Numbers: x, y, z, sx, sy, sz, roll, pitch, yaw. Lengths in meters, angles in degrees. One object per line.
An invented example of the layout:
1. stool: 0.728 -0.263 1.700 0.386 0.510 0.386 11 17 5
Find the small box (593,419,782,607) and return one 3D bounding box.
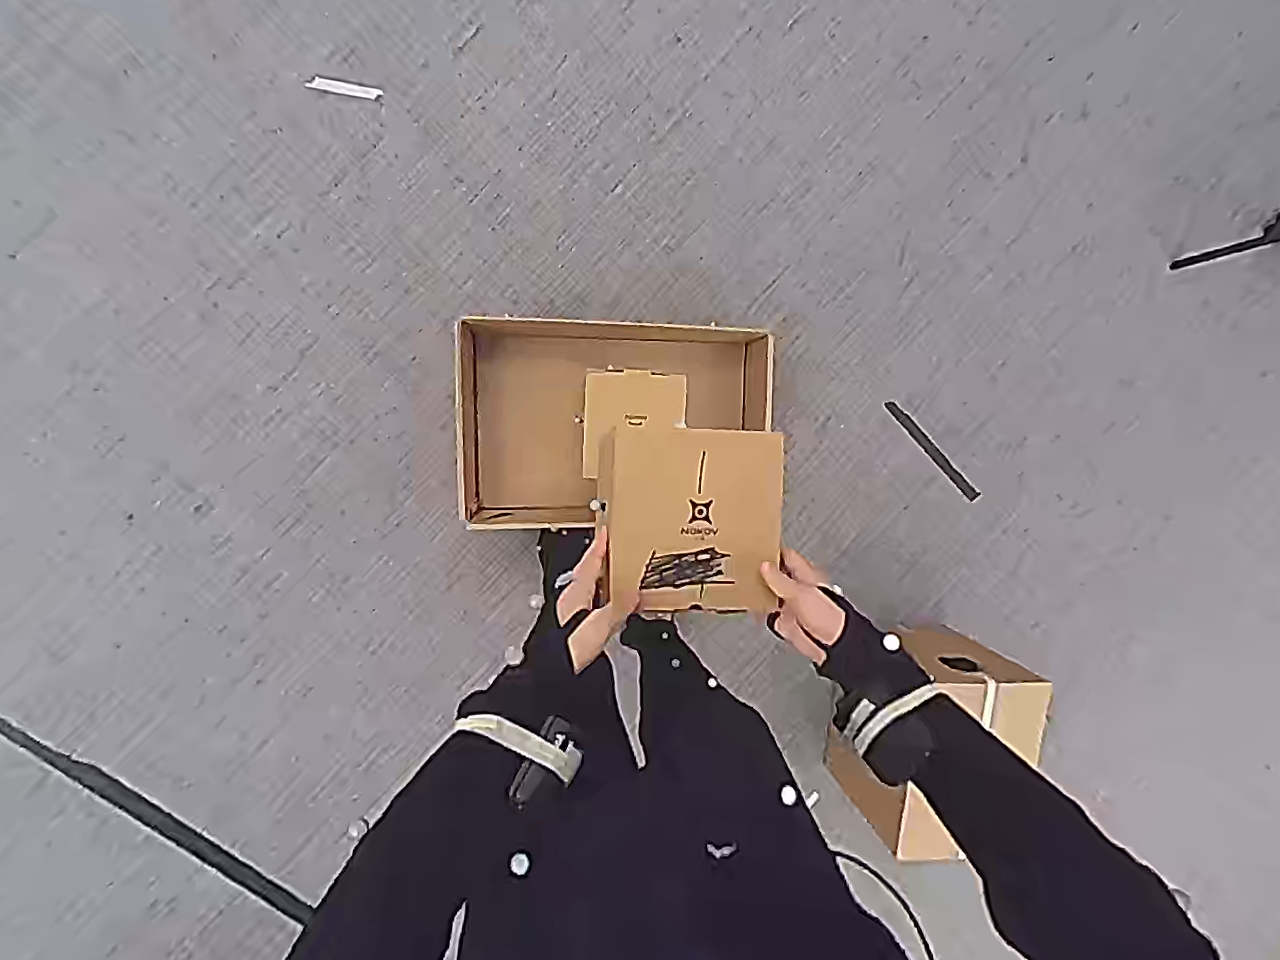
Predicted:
1. small box: 0.040 0.031 0.590 0.168 0.176 0.179 2 90 -11

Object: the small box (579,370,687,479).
1. small box: -0.020 -0.094 0.950 0.168 0.176 0.179 2 97 -9
